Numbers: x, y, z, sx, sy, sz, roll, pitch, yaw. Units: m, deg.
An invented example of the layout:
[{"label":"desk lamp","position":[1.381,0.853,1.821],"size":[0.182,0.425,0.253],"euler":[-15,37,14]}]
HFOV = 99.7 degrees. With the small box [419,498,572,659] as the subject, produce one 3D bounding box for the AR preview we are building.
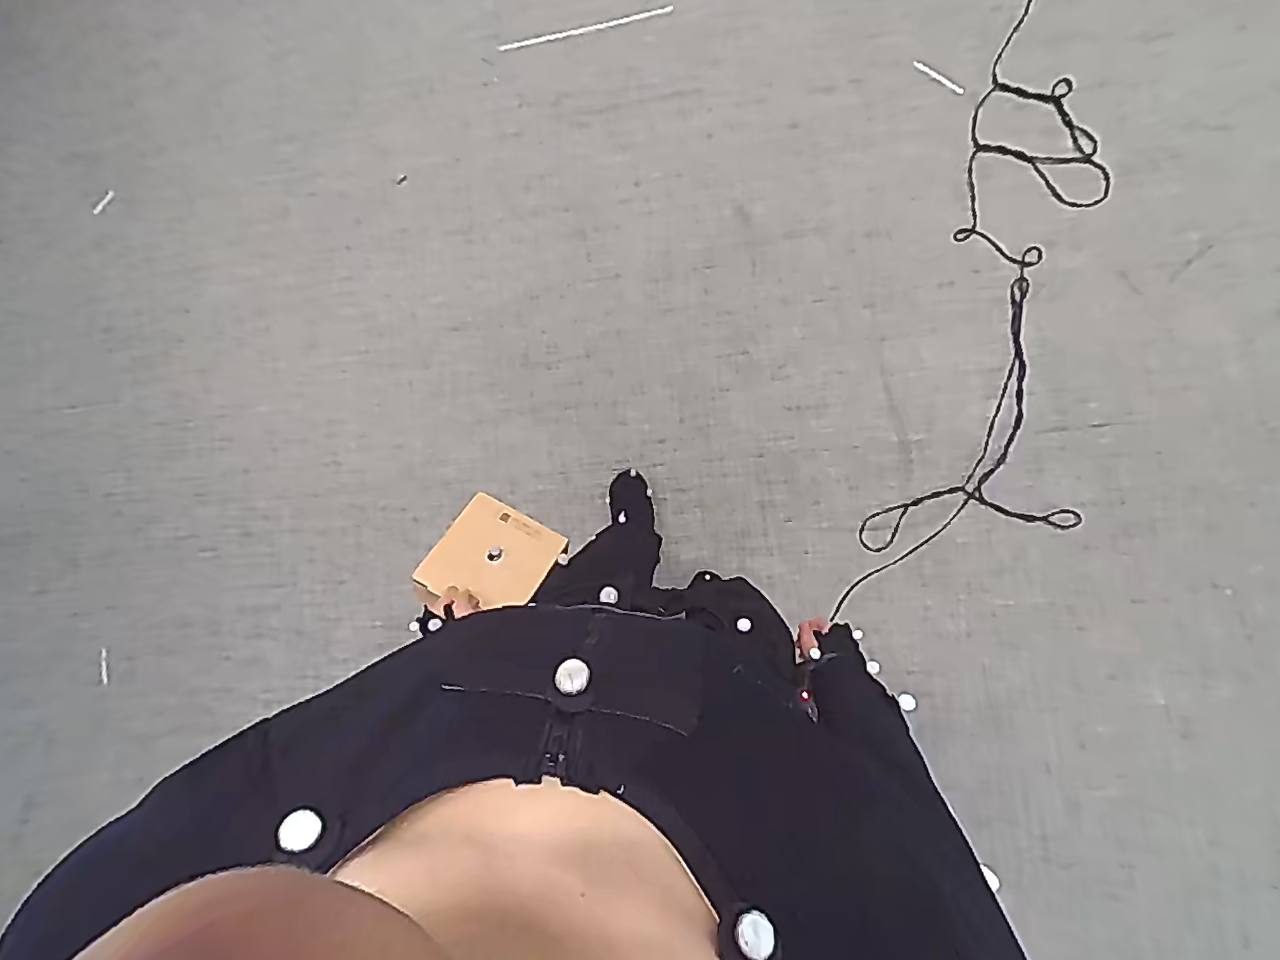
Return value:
[{"label":"small box","position":[-0.223,0.158,0.874],"size":[0.168,0.179,0.176],"euler":[28,58,6]}]
